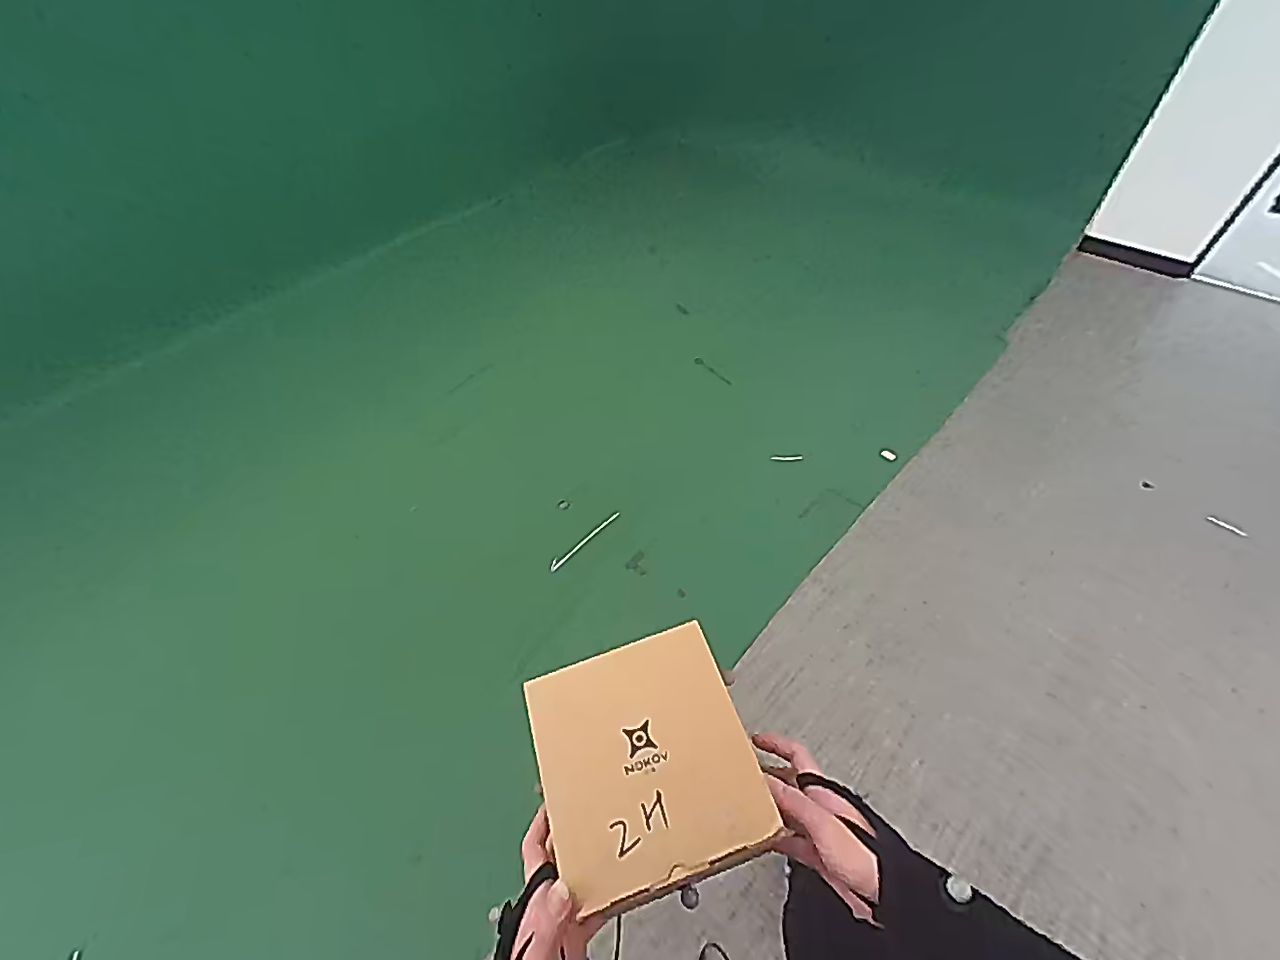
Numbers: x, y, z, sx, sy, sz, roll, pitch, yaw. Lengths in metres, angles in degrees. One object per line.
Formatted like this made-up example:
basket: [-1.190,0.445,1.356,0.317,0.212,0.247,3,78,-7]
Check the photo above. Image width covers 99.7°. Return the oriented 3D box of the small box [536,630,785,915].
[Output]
small box: [0.014,0.272,0.500,0.168,0.176,0.179,-17,52,-5]
